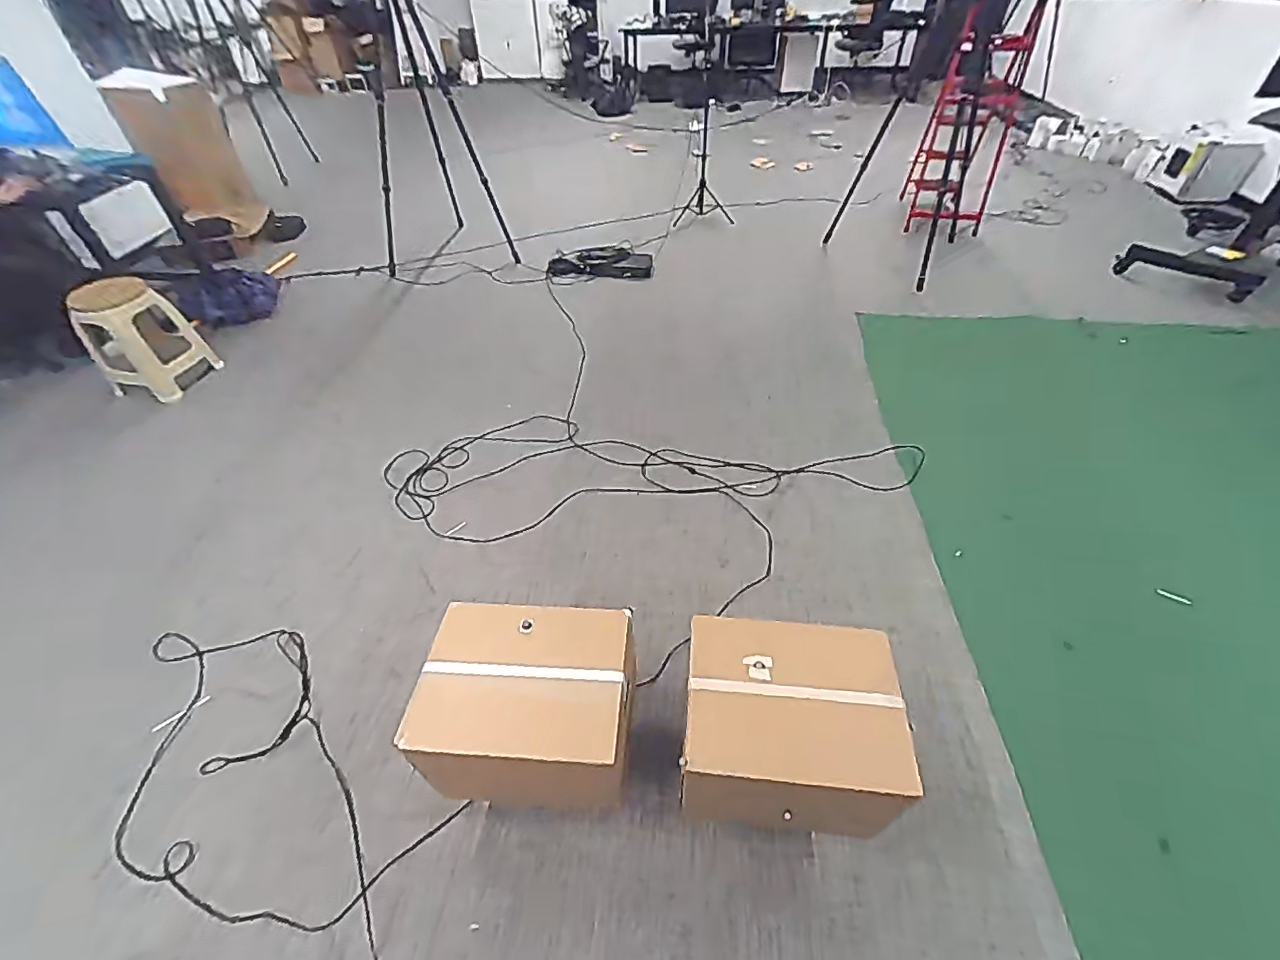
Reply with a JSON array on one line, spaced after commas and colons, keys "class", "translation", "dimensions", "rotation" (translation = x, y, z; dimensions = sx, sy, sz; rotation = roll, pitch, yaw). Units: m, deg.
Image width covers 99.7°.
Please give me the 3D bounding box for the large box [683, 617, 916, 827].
[{"class": "large box", "translation": [0.303, 0.518, 1.156], "dimensions": [0.408, 0.320, 0.320], "rotation": [4, 46, 6]}]
